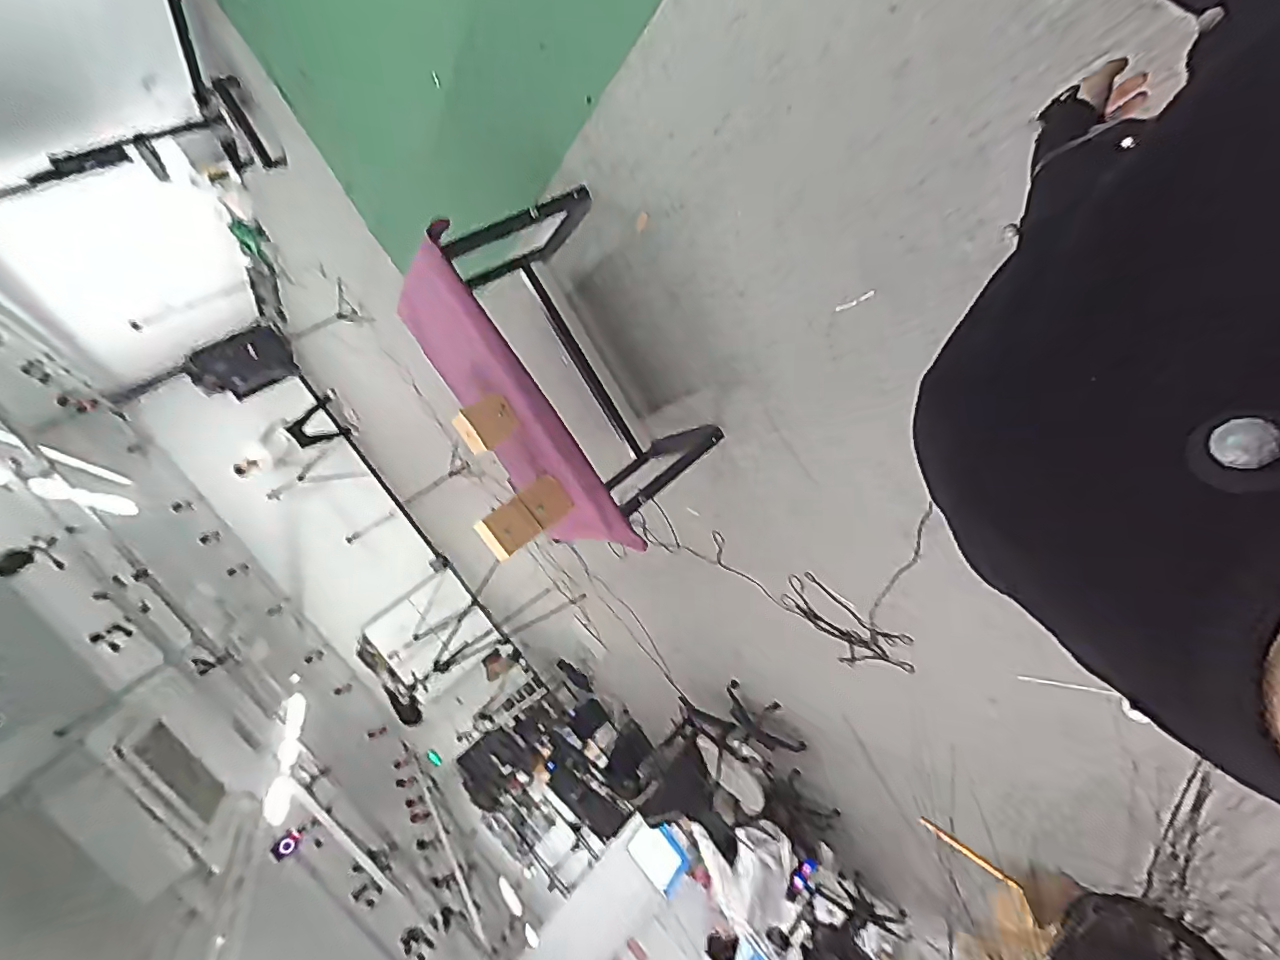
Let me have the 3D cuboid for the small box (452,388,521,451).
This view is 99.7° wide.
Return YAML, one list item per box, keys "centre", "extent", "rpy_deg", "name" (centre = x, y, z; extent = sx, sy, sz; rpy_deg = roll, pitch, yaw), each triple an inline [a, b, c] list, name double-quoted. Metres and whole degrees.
- centre: [-0.581, -0.228, 2.056]
  extent: [0.179, 0.176, 0.168]
  rpy_deg: [-7, 119, 58]
  name: "small box"

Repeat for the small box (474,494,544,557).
- centre: [-0.502, 0.170, 2.072]
  extent: [0.179, 0.176, 0.168]
  rpy_deg: [54, 151, -8]
  name: "small box"

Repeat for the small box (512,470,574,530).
- centre: [-0.391, 0.084, 2.153]
  extent: [0.179, 0.176, 0.168]
  rpy_deg: [56, 151, -9]
  name: "small box"
